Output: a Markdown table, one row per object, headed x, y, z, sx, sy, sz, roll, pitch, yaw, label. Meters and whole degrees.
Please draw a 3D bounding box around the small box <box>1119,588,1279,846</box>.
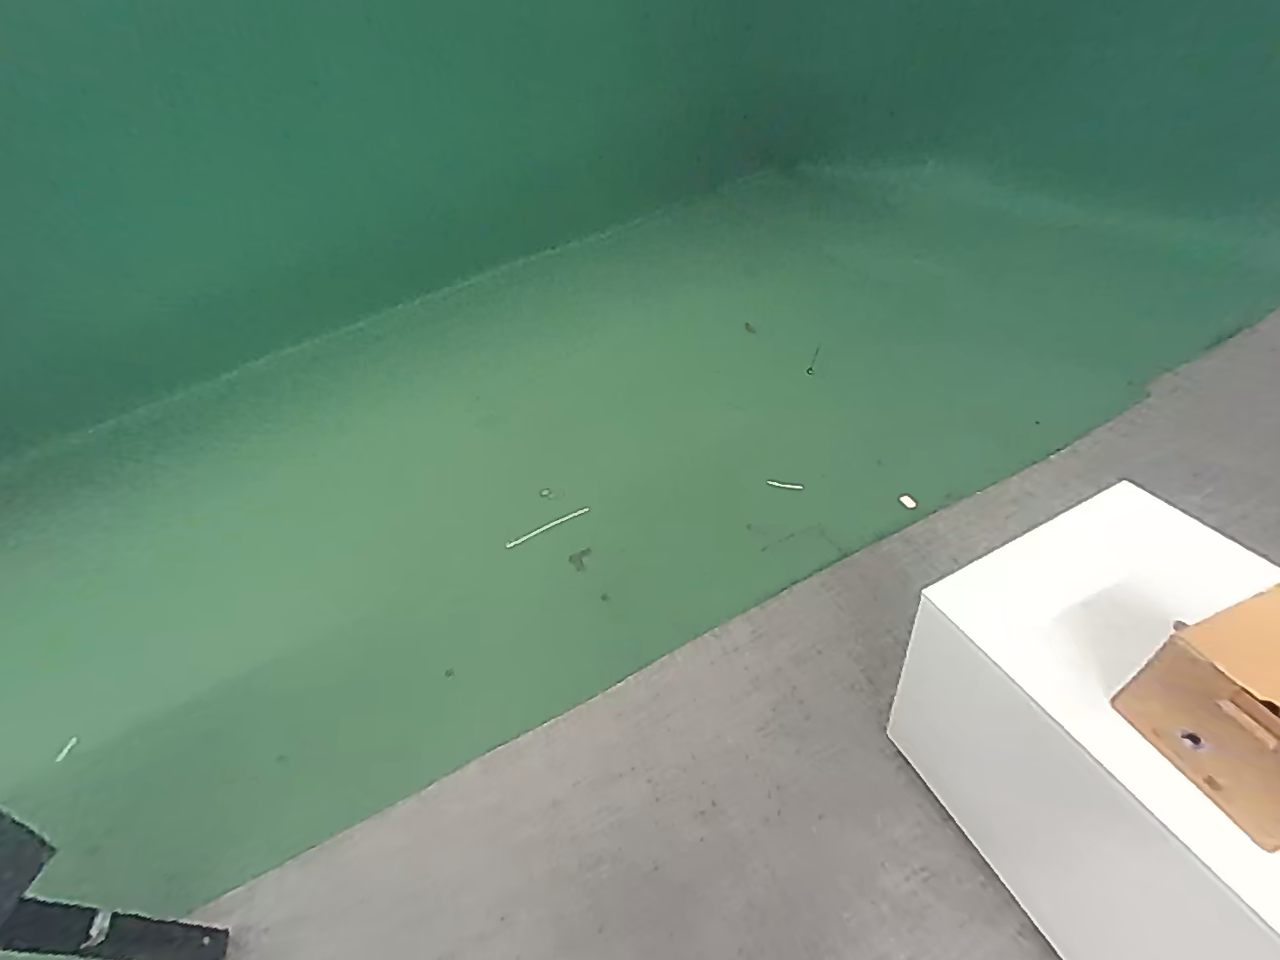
| x | y | z | sx | sy | sz | roll | pitch | yaw | label |
| --- | --- | --- | --- | --- | --- | --- | --- | --- | --- |
| 0.656 | 0.235 | 0.551 | 0.179 | 0.176 | 0.168 | -22 | 44 | -6 | small box |
